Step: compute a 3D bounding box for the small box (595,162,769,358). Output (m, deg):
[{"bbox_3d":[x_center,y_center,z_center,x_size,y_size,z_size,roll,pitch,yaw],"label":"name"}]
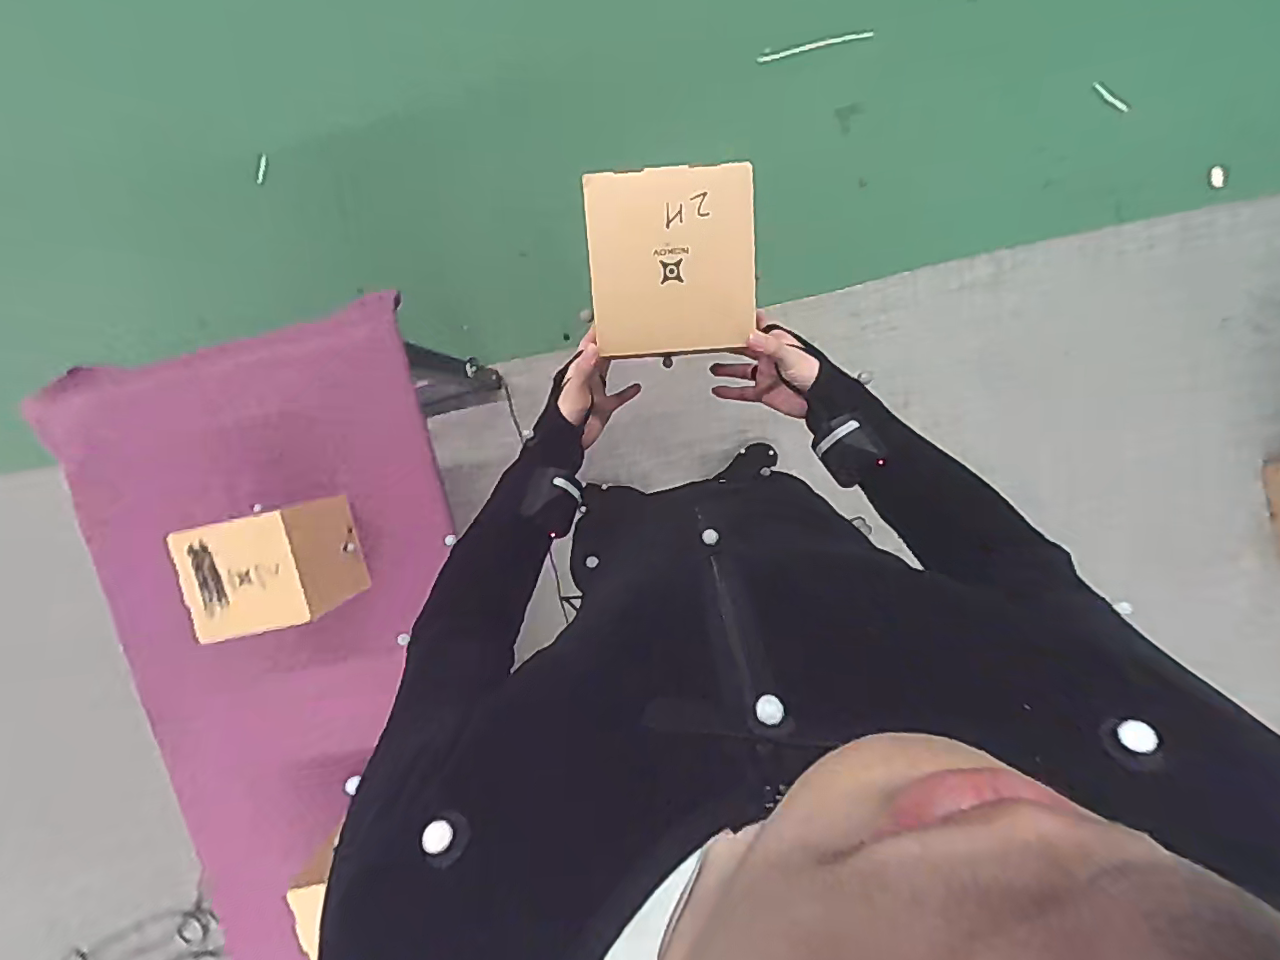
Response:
[{"bbox_3d":[0.041,-0.229,0.602,0.168,0.176,0.179,-2,102,0],"label":"small box"}]
